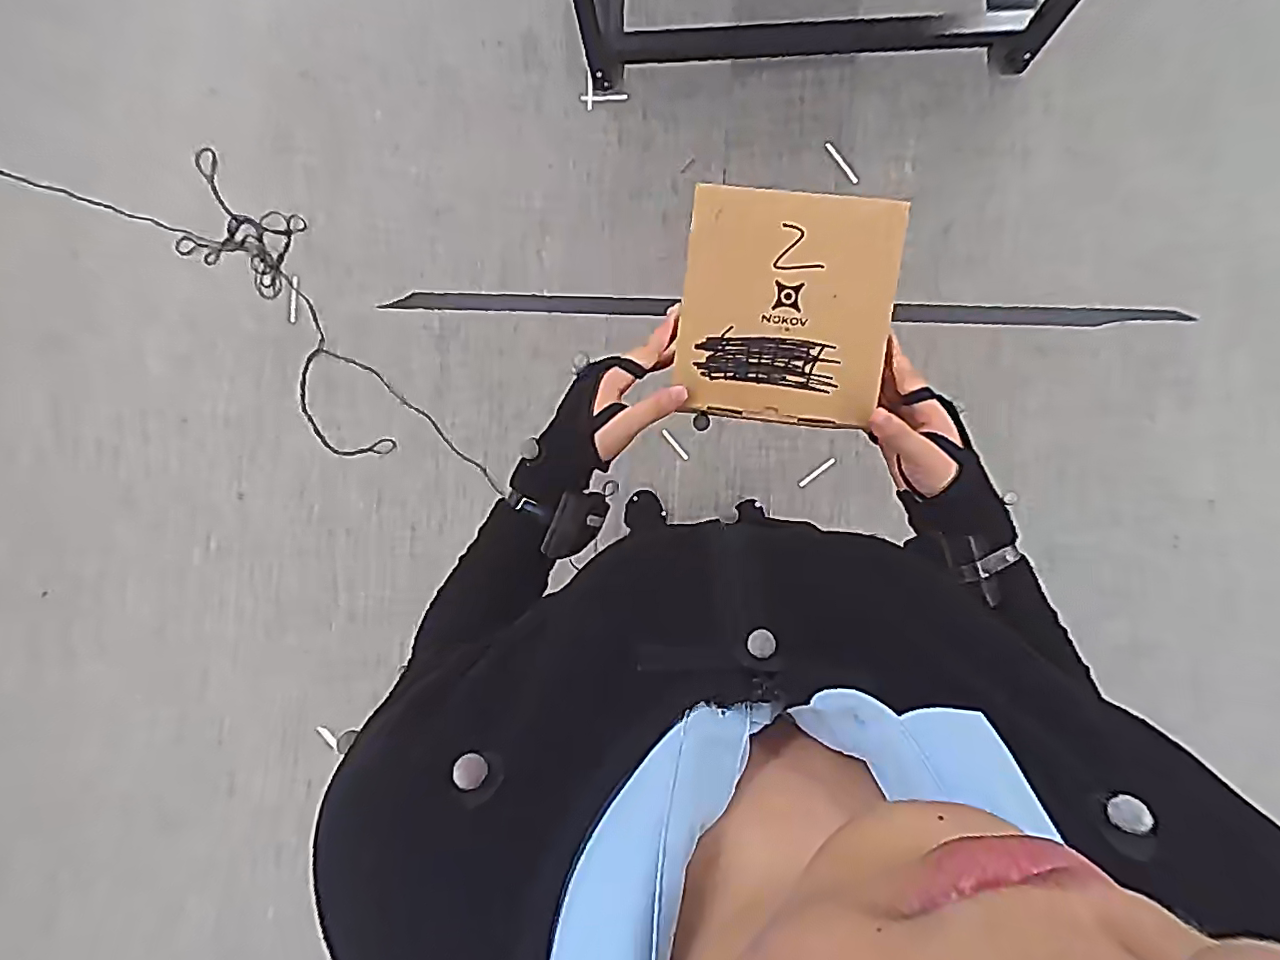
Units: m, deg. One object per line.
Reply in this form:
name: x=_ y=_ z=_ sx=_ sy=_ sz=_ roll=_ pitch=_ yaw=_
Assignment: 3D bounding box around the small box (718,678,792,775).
small box: x=0.282 y=0.607 z=1.352 sx=0.168 sy=0.176 sz=0.179 roll=-1 pitch=88 yaw=6
